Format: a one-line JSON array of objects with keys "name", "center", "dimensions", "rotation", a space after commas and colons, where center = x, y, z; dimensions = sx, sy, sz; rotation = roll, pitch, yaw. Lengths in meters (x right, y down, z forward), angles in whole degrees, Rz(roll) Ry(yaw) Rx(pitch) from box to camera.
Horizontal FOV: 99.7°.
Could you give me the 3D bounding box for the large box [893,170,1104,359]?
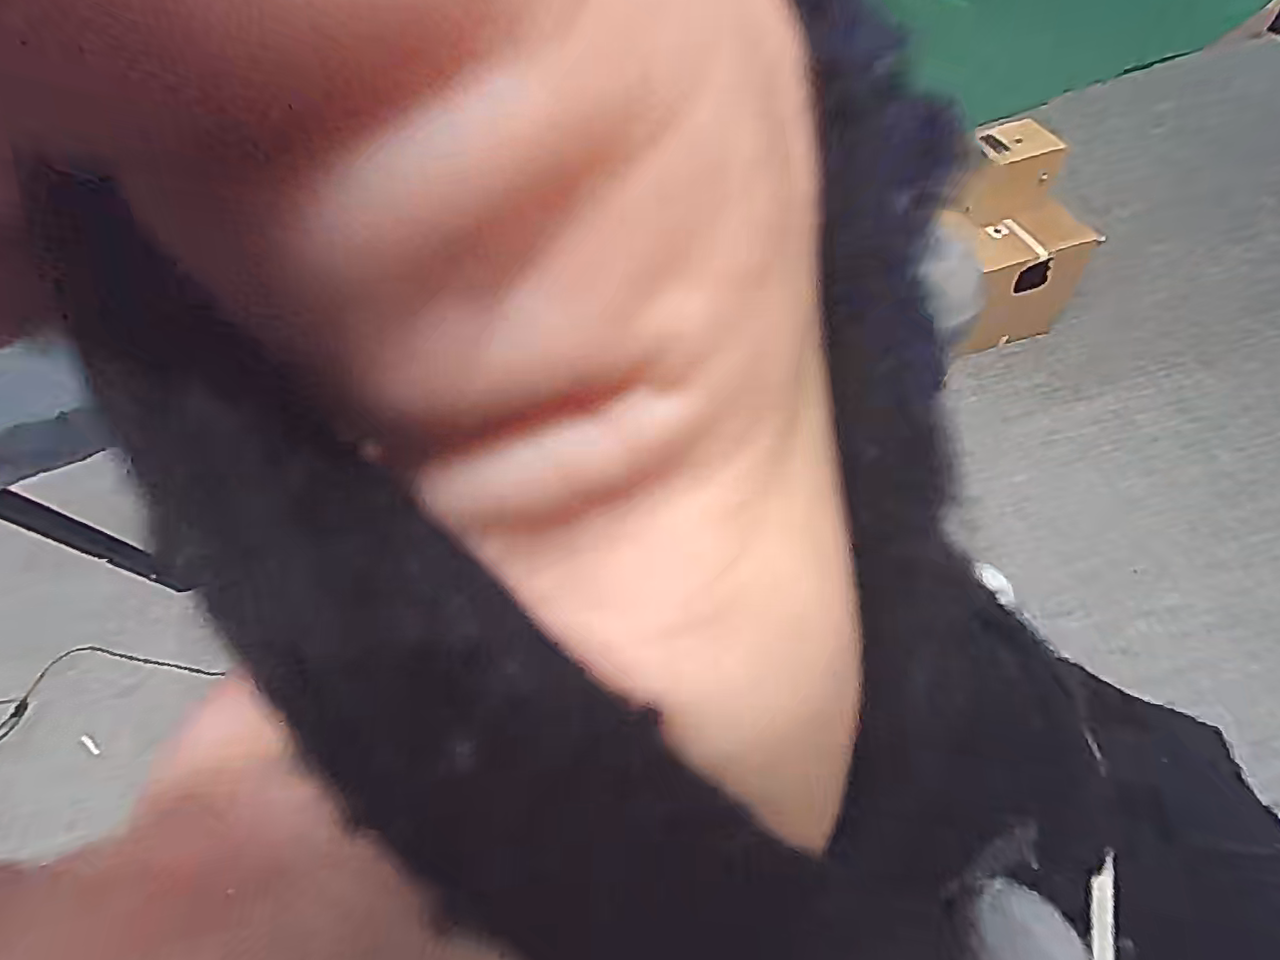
[{"name": "large box", "center": [1.019, -0.637, 1.610], "dimensions": [0.320, 0.320, 0.408], "rotation": [-16, 56, 3]}]
